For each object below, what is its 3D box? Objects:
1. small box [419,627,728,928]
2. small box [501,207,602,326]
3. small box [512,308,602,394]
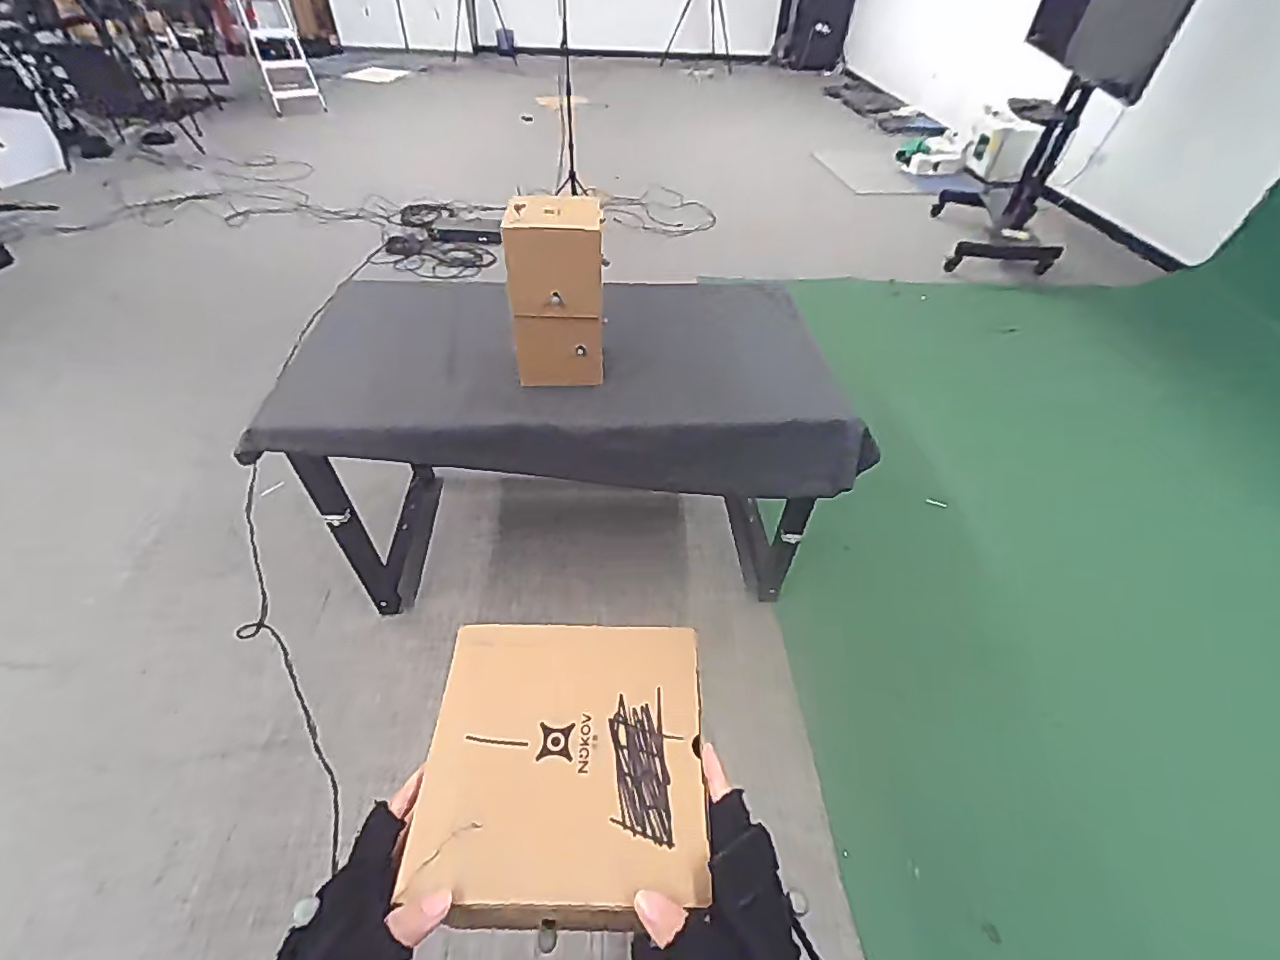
[{"bbox_3d":[-0.045,0.227,0.414,0.179,0.176,0.168,0,46,-5],"label":"small box"},{"bbox_3d":[-0.164,-0.415,1.058,0.179,0.176,0.168,0,44,-4],"label":"small box"},{"bbox_3d":[-0.172,-0.301,1.175,0.179,0.176,0.168,-3,44,-4],"label":"small box"}]
